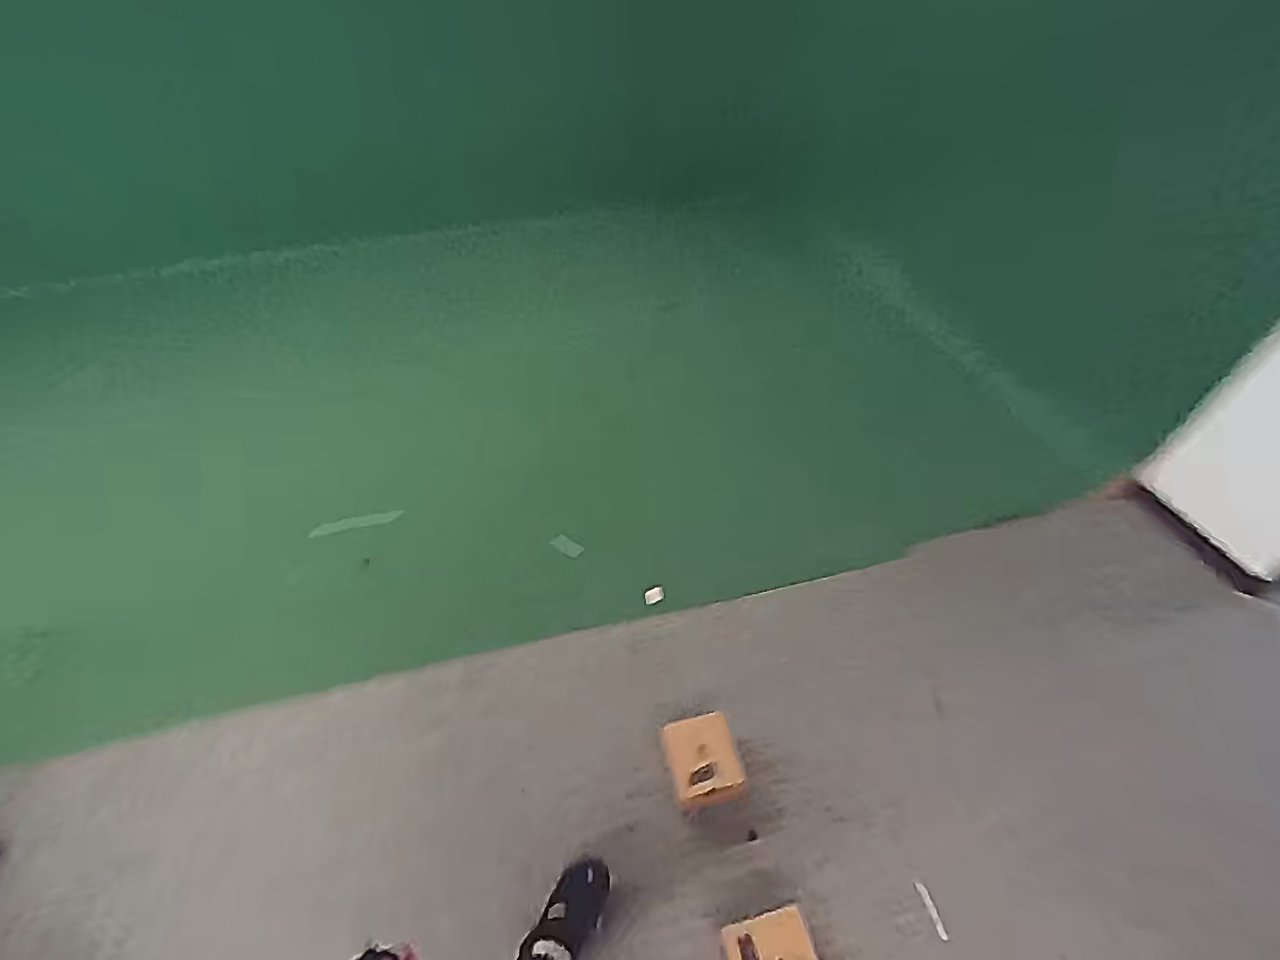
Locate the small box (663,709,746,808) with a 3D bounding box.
[{"bbox_3d":[0.159,0.718,1.383,0.168,0.176,0.179,-10,48,-7],"label":"small box"}]
